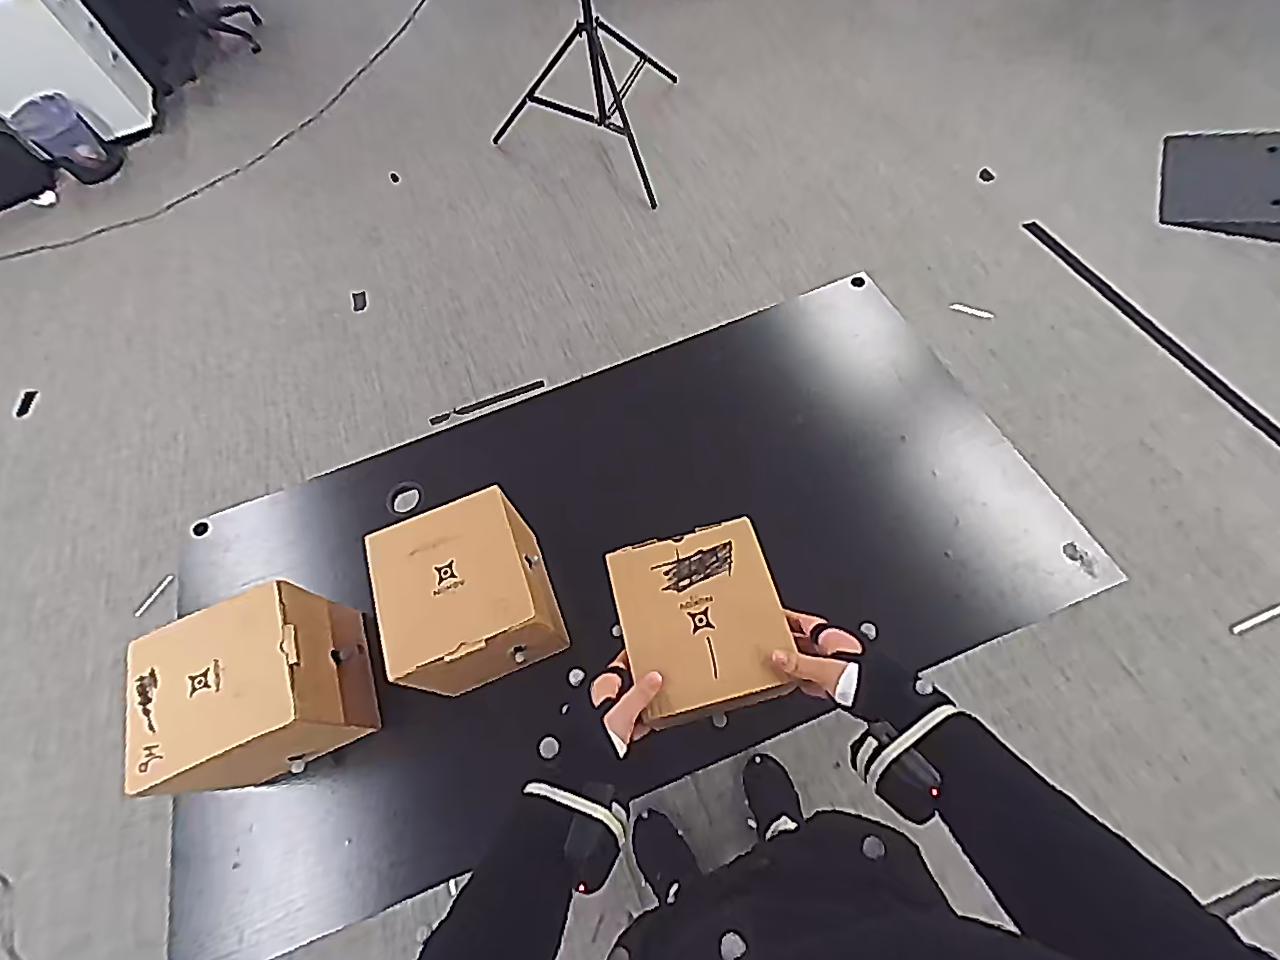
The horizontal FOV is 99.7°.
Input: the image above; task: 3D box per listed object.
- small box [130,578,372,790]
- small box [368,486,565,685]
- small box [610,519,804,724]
[{"bbox_3d":[-0.446,0.243,0.646,0.179,0.176,0.168,-23,63,-7],"label":"small box"},{"bbox_3d":[-0.206,0.141,0.674,0.168,0.176,0.179,-22,62,-6],"label":"small box"},{"bbox_3d":[0.069,0.170,0.627,0.168,0.176,0.179,-14,64,-1],"label":"small box"}]
